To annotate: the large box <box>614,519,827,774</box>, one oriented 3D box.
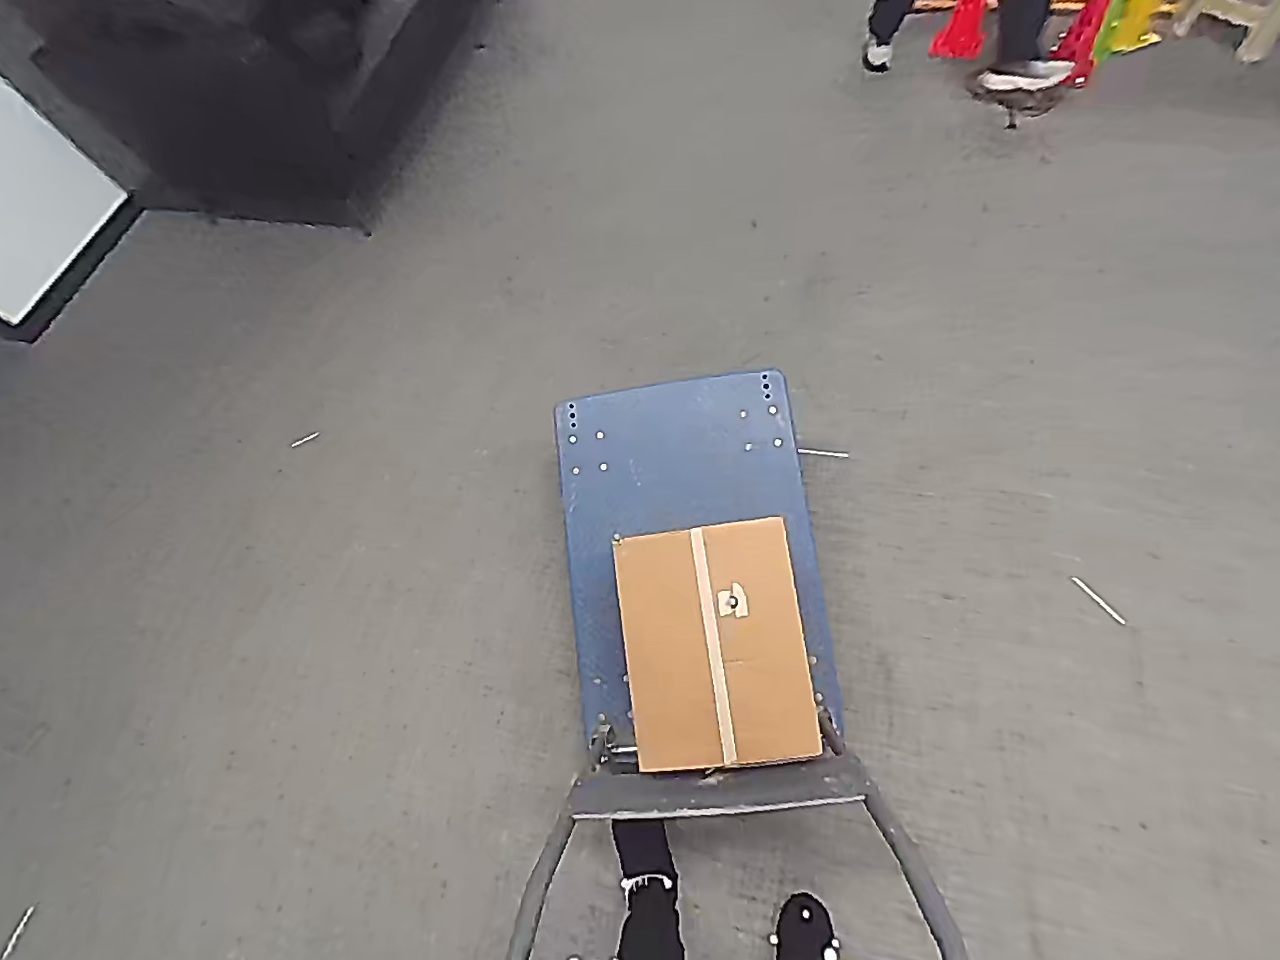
[{"bbox_3d":[0.151,0.310,1.083,0.320,0.320,0.408,-9,79,5],"label":"large box"}]
